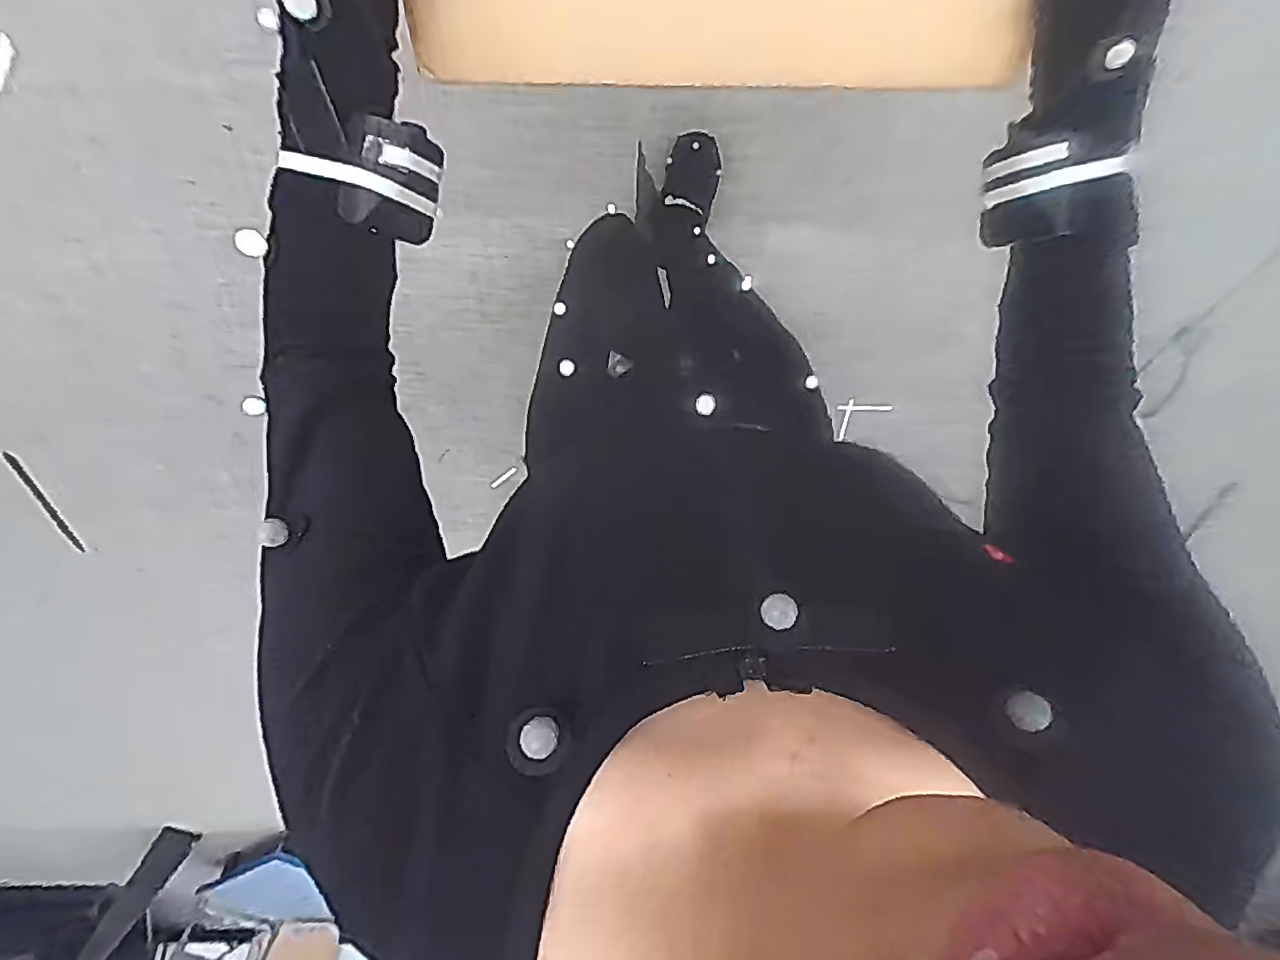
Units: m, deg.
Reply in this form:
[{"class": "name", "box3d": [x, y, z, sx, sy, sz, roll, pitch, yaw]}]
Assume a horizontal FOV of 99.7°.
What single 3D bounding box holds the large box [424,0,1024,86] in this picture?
[{"class": "large box", "box3d": [0.051, -0.497, 0.400, 0.408, 0.320, 0.320, 0, 130, 0]}]
